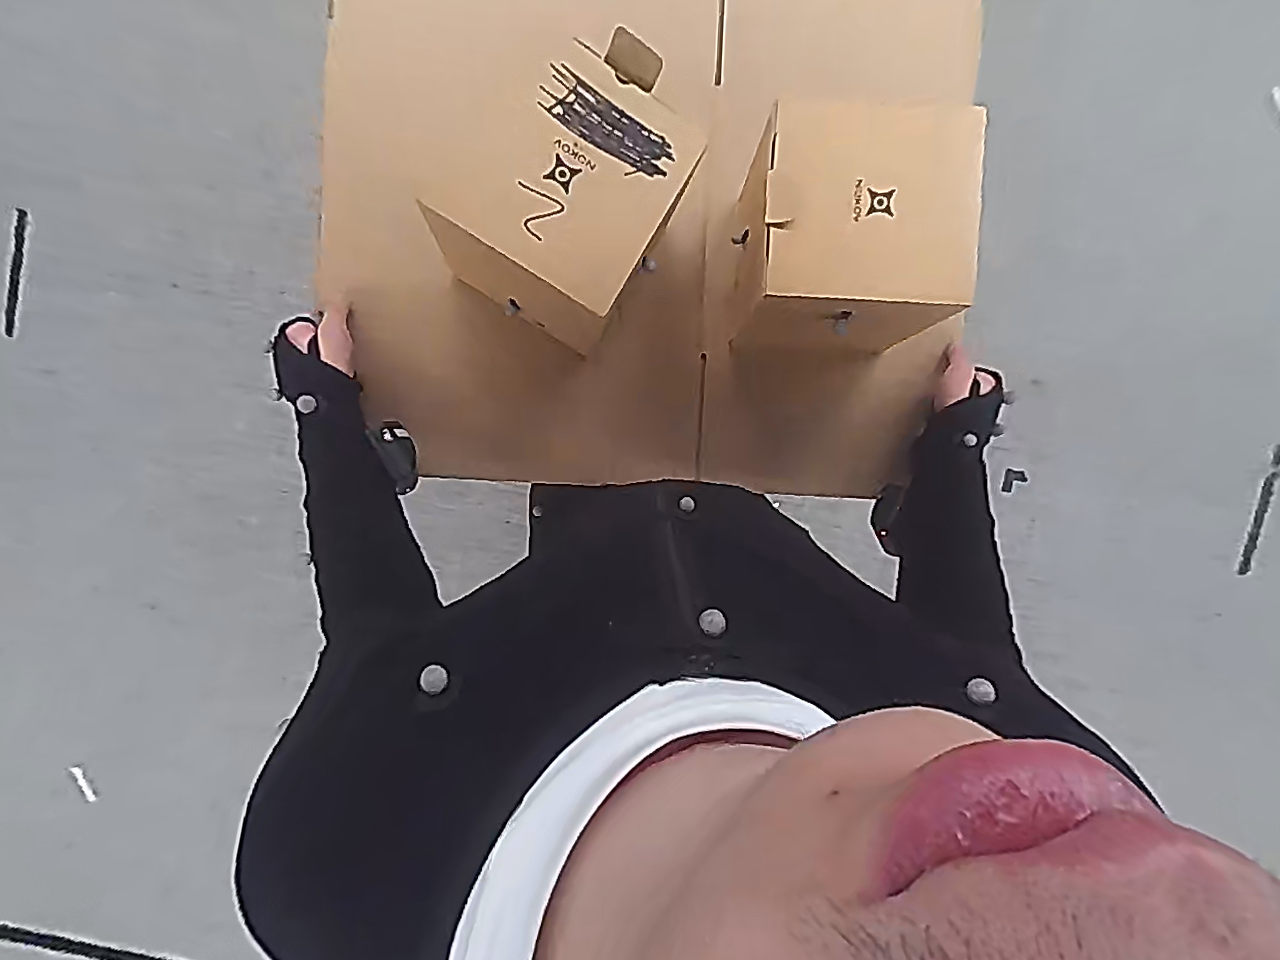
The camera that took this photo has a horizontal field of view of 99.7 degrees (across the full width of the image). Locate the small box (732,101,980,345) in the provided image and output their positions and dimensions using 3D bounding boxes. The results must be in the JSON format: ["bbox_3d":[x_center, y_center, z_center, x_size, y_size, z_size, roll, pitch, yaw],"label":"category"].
[{"bbox_3d":[0.198,-0.236,0.541,0.179,0.176,0.168,3,91,0],"label":"small box"}]
